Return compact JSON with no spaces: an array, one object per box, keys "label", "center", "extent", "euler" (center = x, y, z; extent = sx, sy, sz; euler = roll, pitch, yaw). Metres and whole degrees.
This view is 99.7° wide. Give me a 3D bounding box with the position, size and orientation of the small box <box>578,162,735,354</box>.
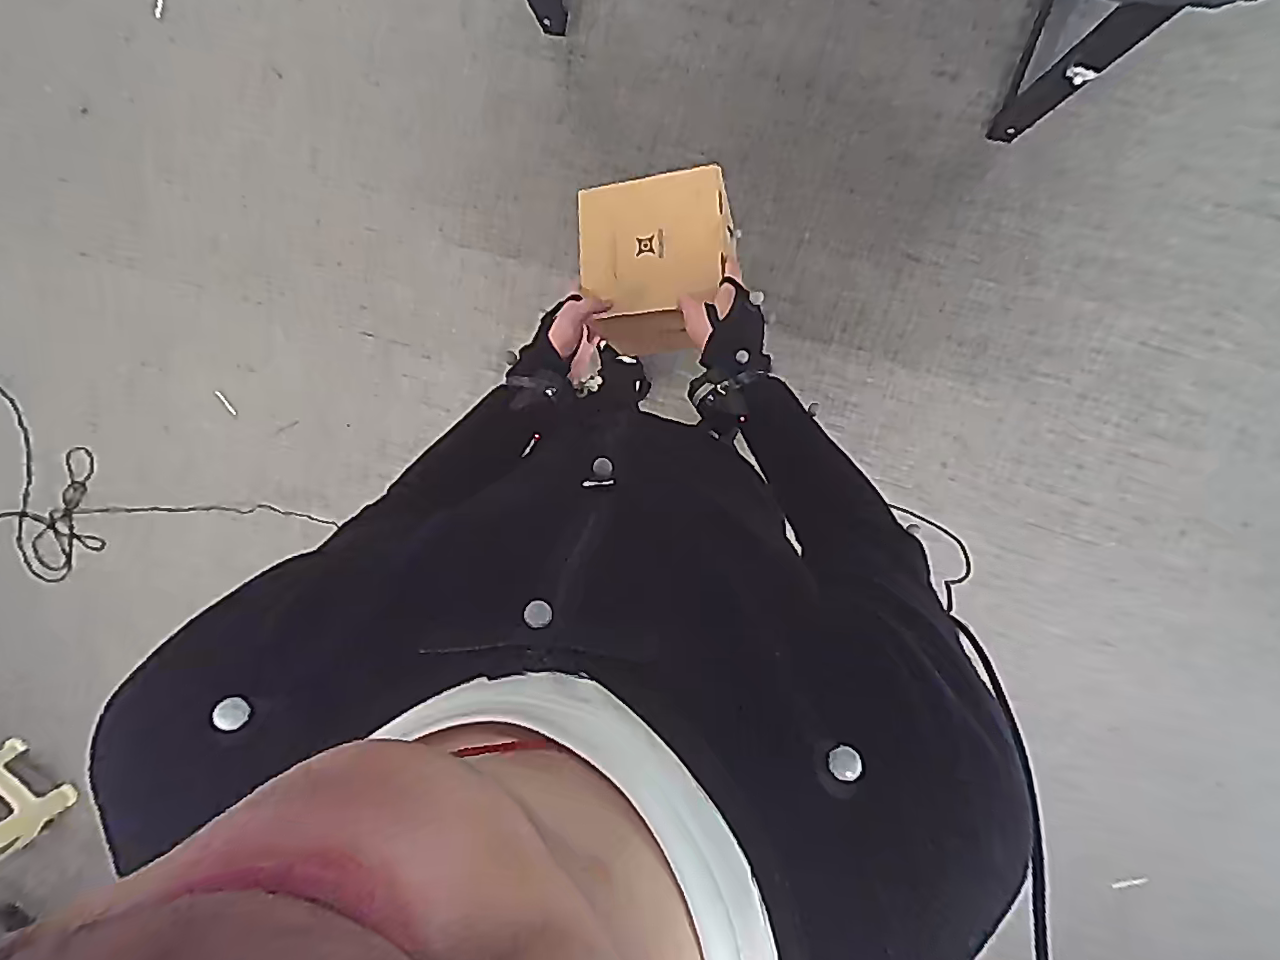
[{"label":"small box","center":[0.031,-0.272,0.703],"extent":[0.179,0.176,0.168],"euler":[-1,85,16]}]
